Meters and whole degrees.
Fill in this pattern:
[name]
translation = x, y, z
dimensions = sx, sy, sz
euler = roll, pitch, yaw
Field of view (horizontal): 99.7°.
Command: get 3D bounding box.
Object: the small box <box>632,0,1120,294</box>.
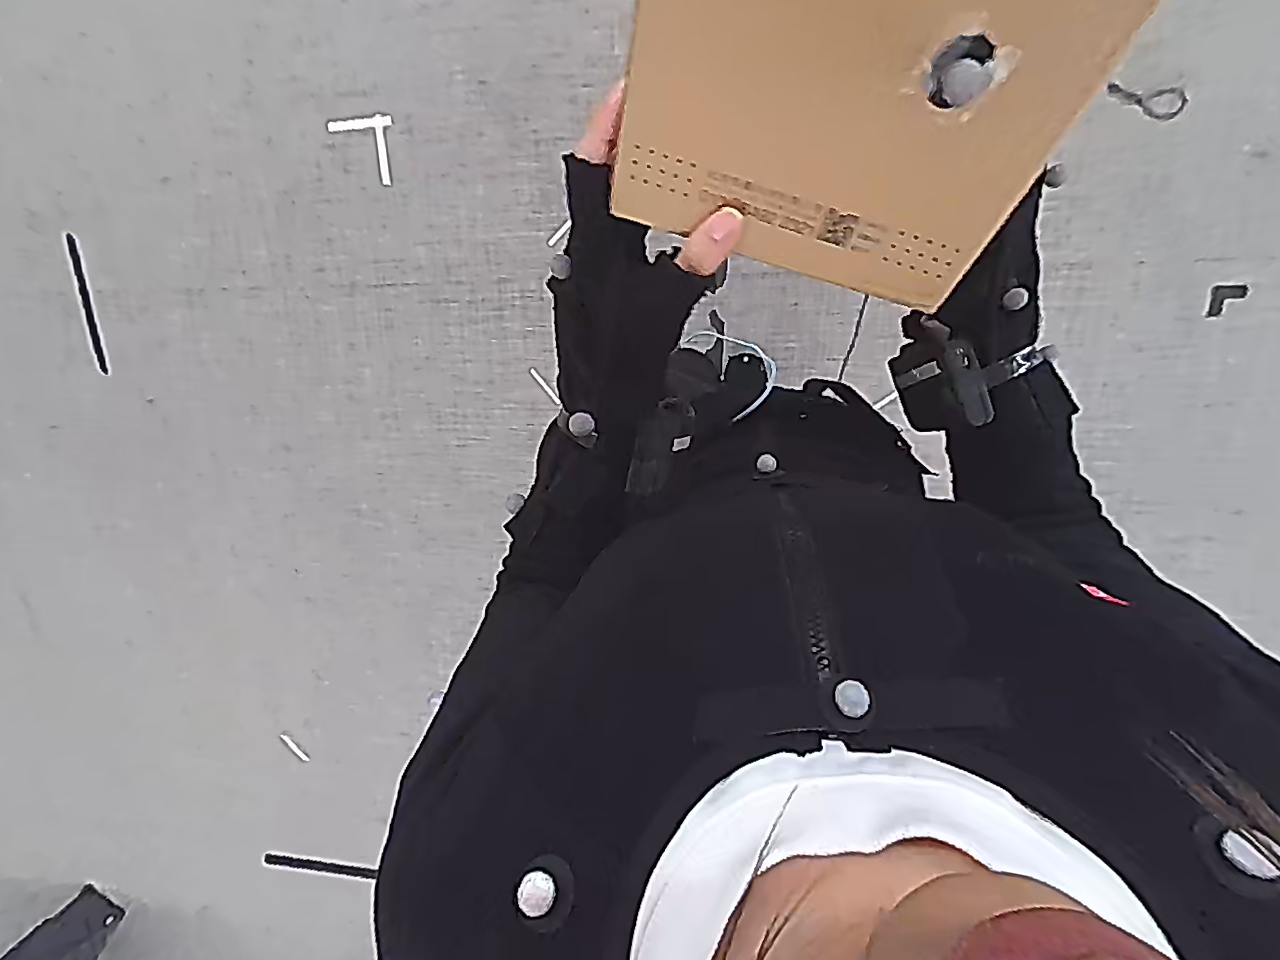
[small box]
translation = 0.101, -0.222, 0.264
dimensions = 0.168, 0.179, 0.176
euler = 18, 142, -1
